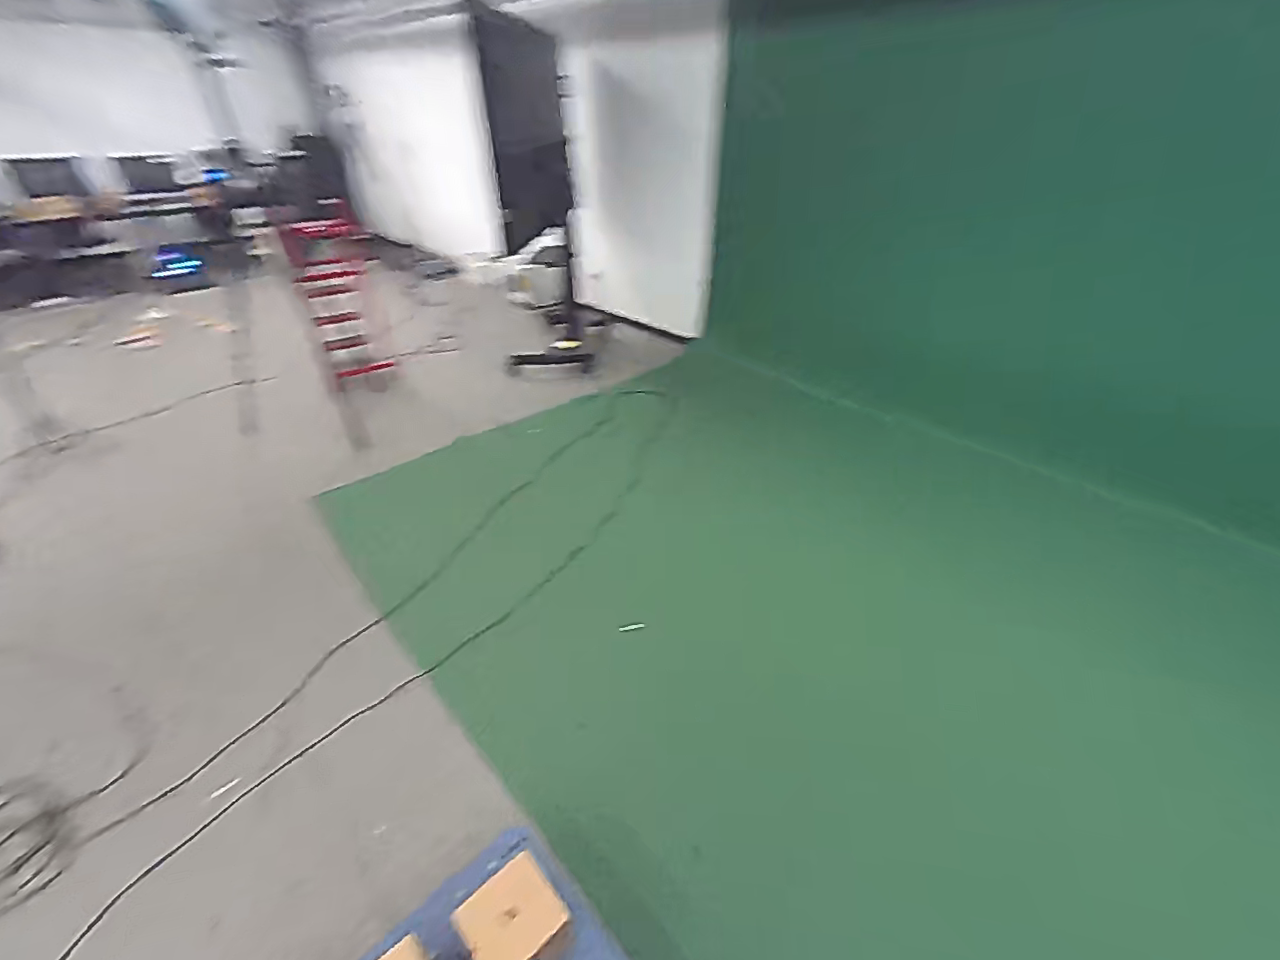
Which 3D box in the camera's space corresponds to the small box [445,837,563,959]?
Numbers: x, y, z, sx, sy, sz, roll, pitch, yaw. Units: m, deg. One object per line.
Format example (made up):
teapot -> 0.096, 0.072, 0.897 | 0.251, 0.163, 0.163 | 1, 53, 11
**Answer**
small box -> -0.278, 0.913, 1.134 | 0.179, 0.176, 0.168 | -28, 45, -33
